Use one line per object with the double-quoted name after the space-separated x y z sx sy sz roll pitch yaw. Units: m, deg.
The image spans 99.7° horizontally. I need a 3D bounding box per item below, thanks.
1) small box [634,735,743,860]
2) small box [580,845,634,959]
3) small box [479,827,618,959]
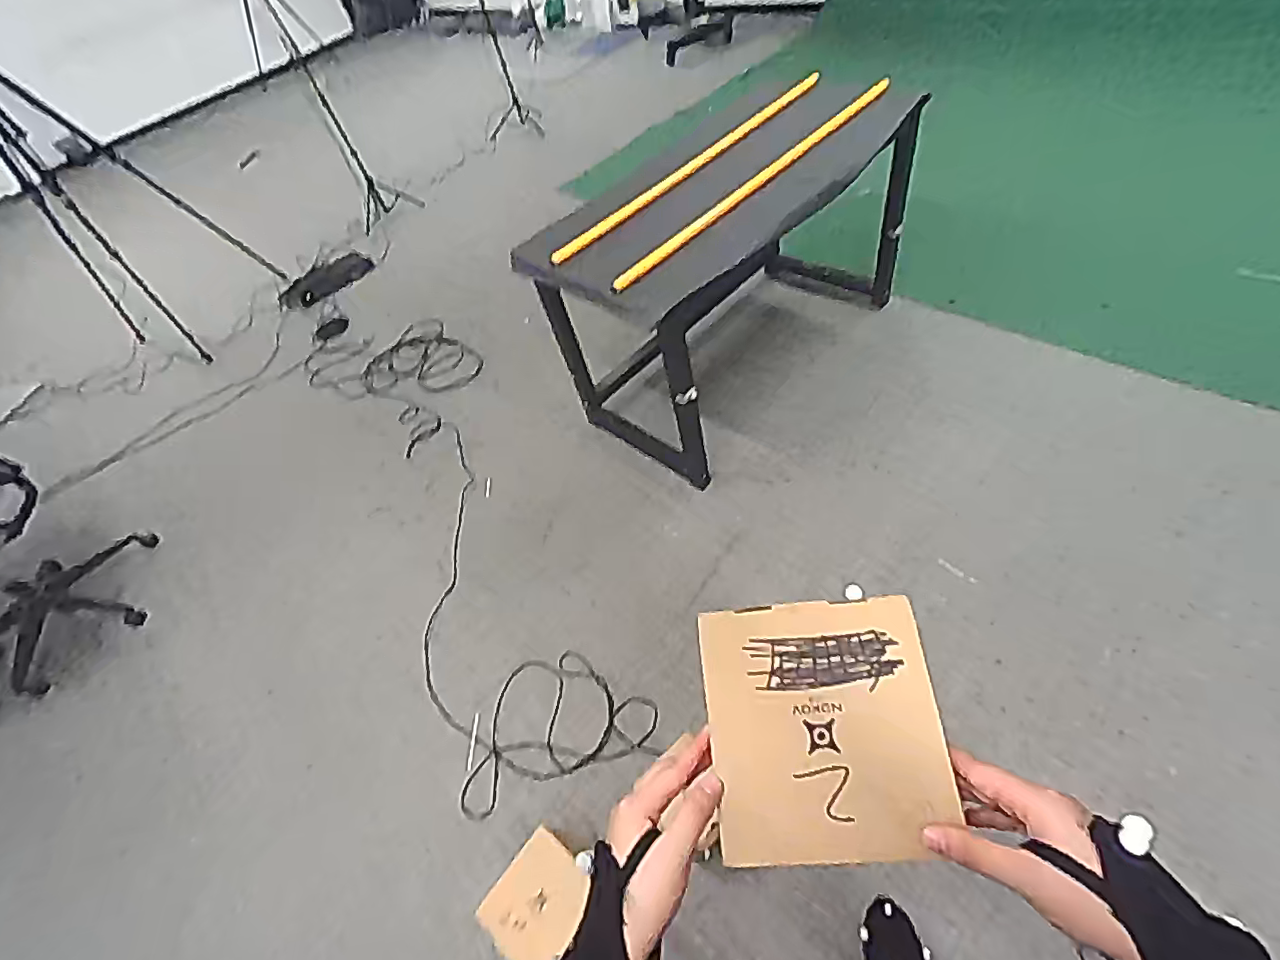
0.116 0.714 1.216 0.168 0.176 0.179 -39 53 -16 "small box"
-0.129 0.900 1.134 0.168 0.176 0.179 30 66 31 "small box"
-0.158 0.794 1.011 0.168 0.176 0.179 29 65 30 "small box"
